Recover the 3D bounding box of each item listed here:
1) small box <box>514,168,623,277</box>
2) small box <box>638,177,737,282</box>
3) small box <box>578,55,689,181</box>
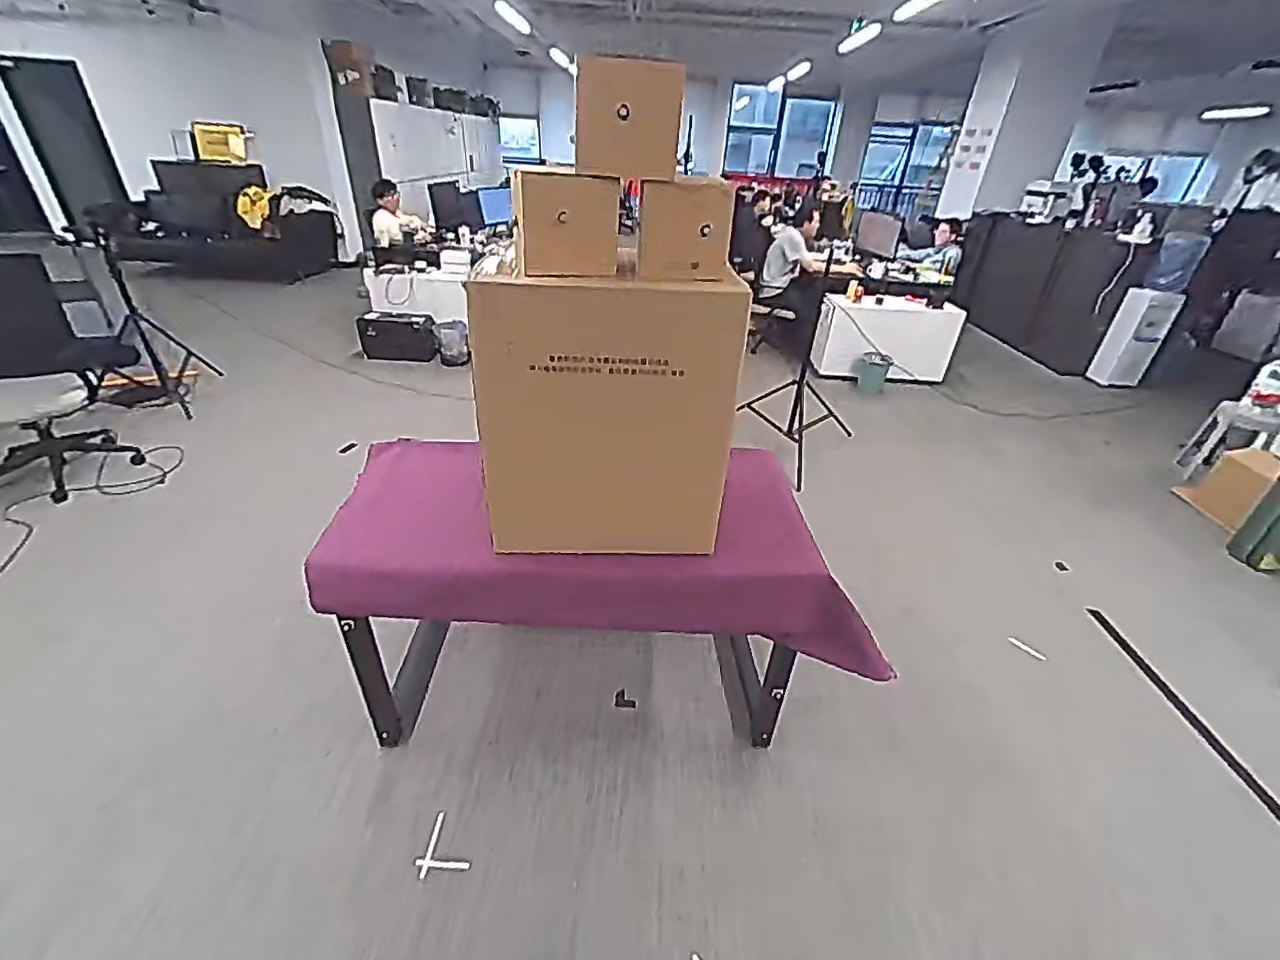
[{"bbox_3d":[-0.139,-0.489,1.028,0.179,0.176,0.168,-6,34,-17],"label":"small box"},{"bbox_3d":[0.084,-0.491,1.054,0.168,0.176,0.179,1,31,-5],"label":"small box"},{"bbox_3d":[-0.014,-0.626,0.949,0.179,0.176,0.168,3,32,-2],"label":"small box"}]
